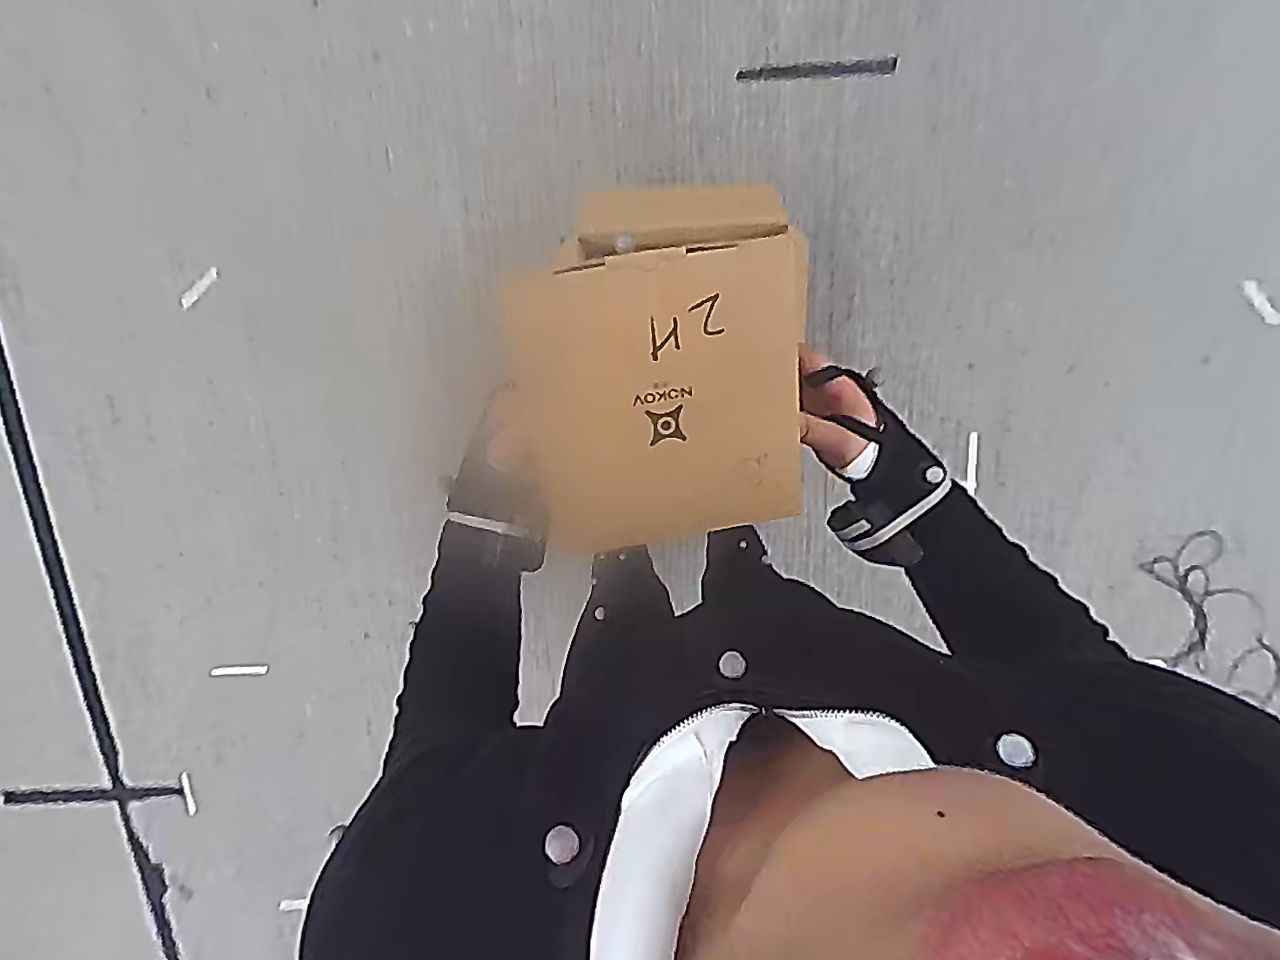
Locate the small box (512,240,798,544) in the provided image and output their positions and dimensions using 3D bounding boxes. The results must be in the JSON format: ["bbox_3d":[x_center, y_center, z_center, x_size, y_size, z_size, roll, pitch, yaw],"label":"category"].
[{"bbox_3d":[0.009,-0.077,0.409,0.168,0.176,0.179,-9,112,-4],"label":"small box"}]
